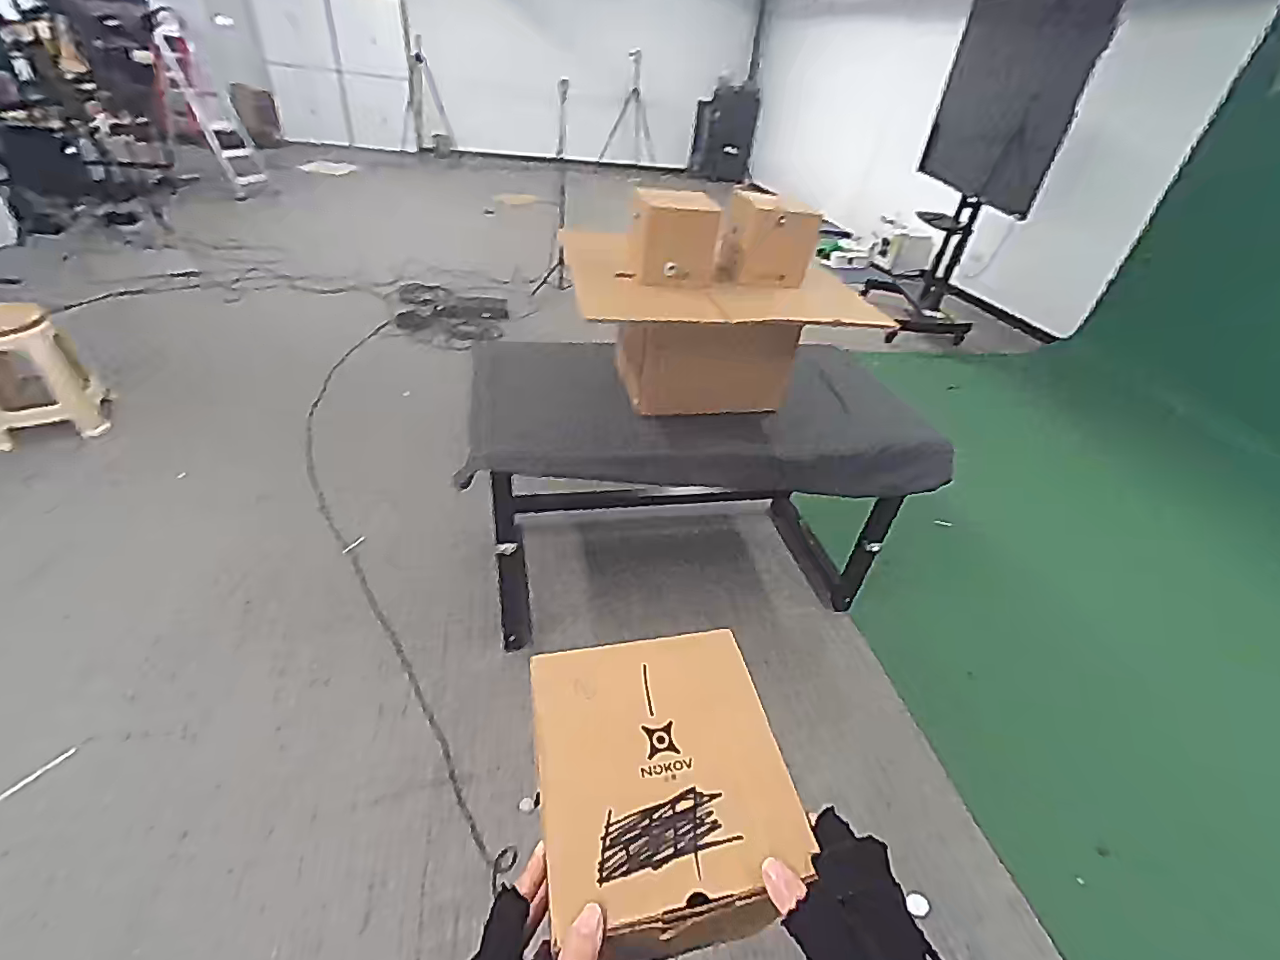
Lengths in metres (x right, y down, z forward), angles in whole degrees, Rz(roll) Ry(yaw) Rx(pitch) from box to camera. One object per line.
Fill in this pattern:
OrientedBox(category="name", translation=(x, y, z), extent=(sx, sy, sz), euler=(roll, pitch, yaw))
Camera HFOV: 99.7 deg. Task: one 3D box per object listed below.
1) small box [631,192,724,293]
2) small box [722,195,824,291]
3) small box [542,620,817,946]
OrientedBox(category="small box", translation=(0.076, -0.547, 1.245), extent=(0.168, 0.176, 0.179), euler=(-3, 40, -12))
OrientedBox(category="small box", translation=(0.309, -0.572, 1.306), extent=(0.168, 0.176, 0.179), euler=(-1, 37, -12))
OrientedBox(category="small box", translation=(0.011, 0.241, 0.433), extent=(0.168, 0.176, 0.179), euler=(-3, 41, -12))
